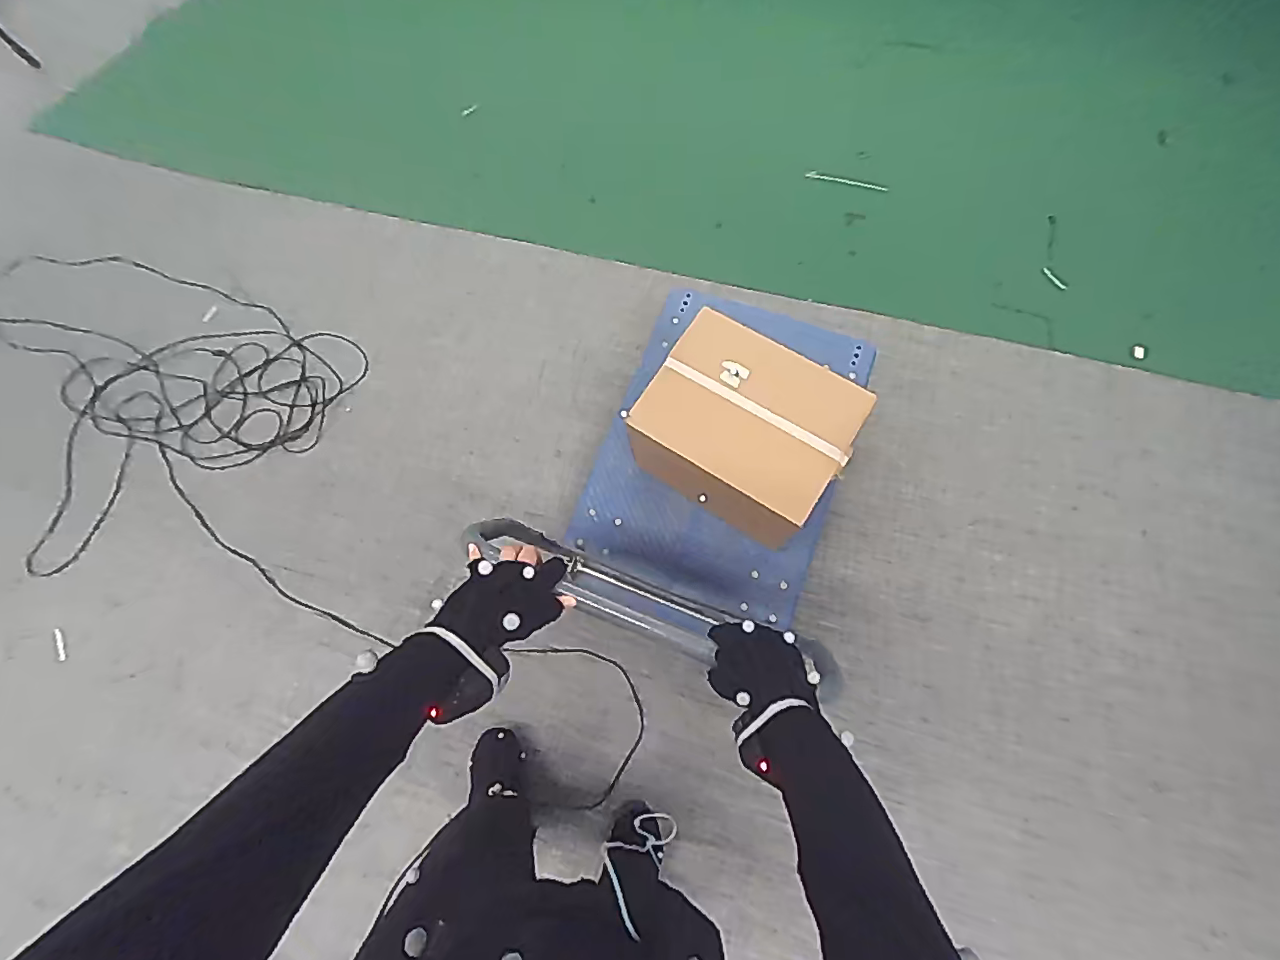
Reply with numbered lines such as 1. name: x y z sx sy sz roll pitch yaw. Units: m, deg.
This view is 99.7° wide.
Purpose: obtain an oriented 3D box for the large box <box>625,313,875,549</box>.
1. large box: 0.231 -0.092 1.215 0.408 0.320 0.320 32 78 13
